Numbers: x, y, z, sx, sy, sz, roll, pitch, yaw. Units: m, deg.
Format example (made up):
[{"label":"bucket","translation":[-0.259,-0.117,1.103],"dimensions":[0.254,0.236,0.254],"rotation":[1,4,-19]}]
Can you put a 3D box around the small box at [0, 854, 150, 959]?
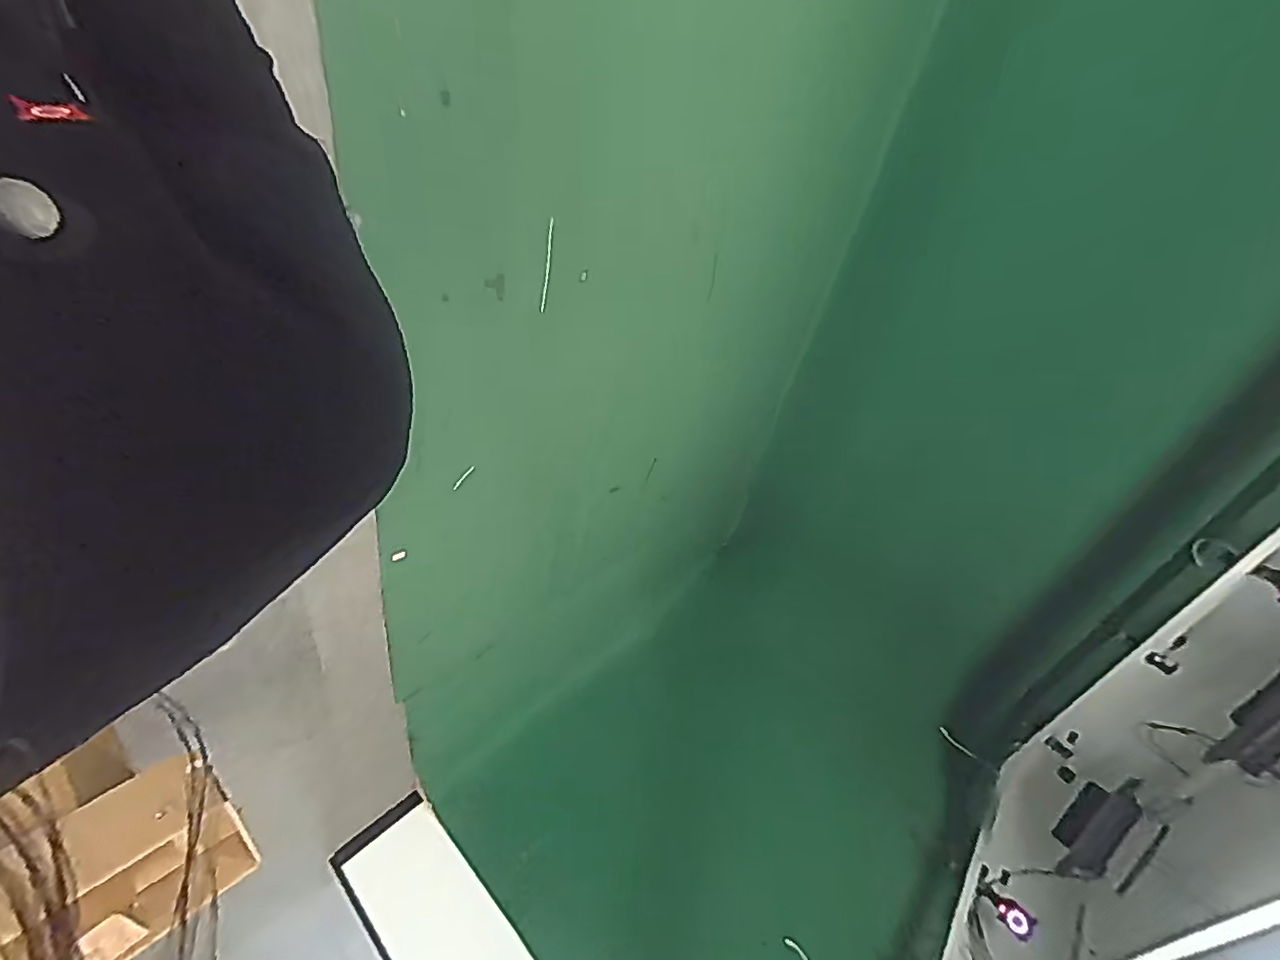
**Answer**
[{"label":"small box","translation":[-1.223,0.963,1.175],"dimensions":[0.168,0.176,0.179],"rotation":[-32,145,-39]}]
